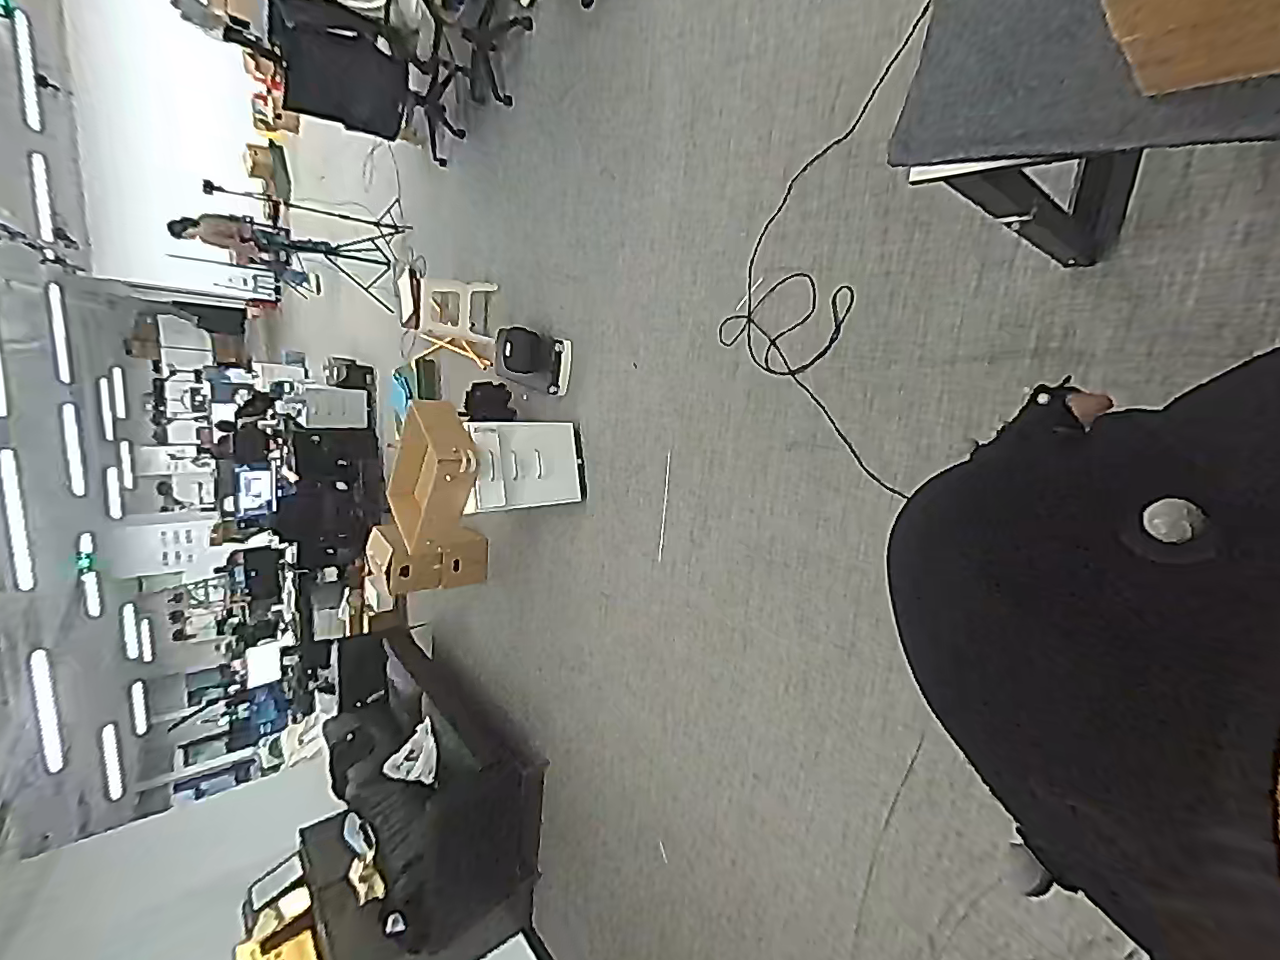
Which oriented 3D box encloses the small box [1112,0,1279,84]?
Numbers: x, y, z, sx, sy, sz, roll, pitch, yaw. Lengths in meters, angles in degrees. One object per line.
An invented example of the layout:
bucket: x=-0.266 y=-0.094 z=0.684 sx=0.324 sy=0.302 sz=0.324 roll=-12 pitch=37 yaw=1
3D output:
small box: x=0.539 y=-0.463 z=0.440 sx=0.179 sy=0.176 sz=0.168 roll=25 pitch=112 yaw=47
